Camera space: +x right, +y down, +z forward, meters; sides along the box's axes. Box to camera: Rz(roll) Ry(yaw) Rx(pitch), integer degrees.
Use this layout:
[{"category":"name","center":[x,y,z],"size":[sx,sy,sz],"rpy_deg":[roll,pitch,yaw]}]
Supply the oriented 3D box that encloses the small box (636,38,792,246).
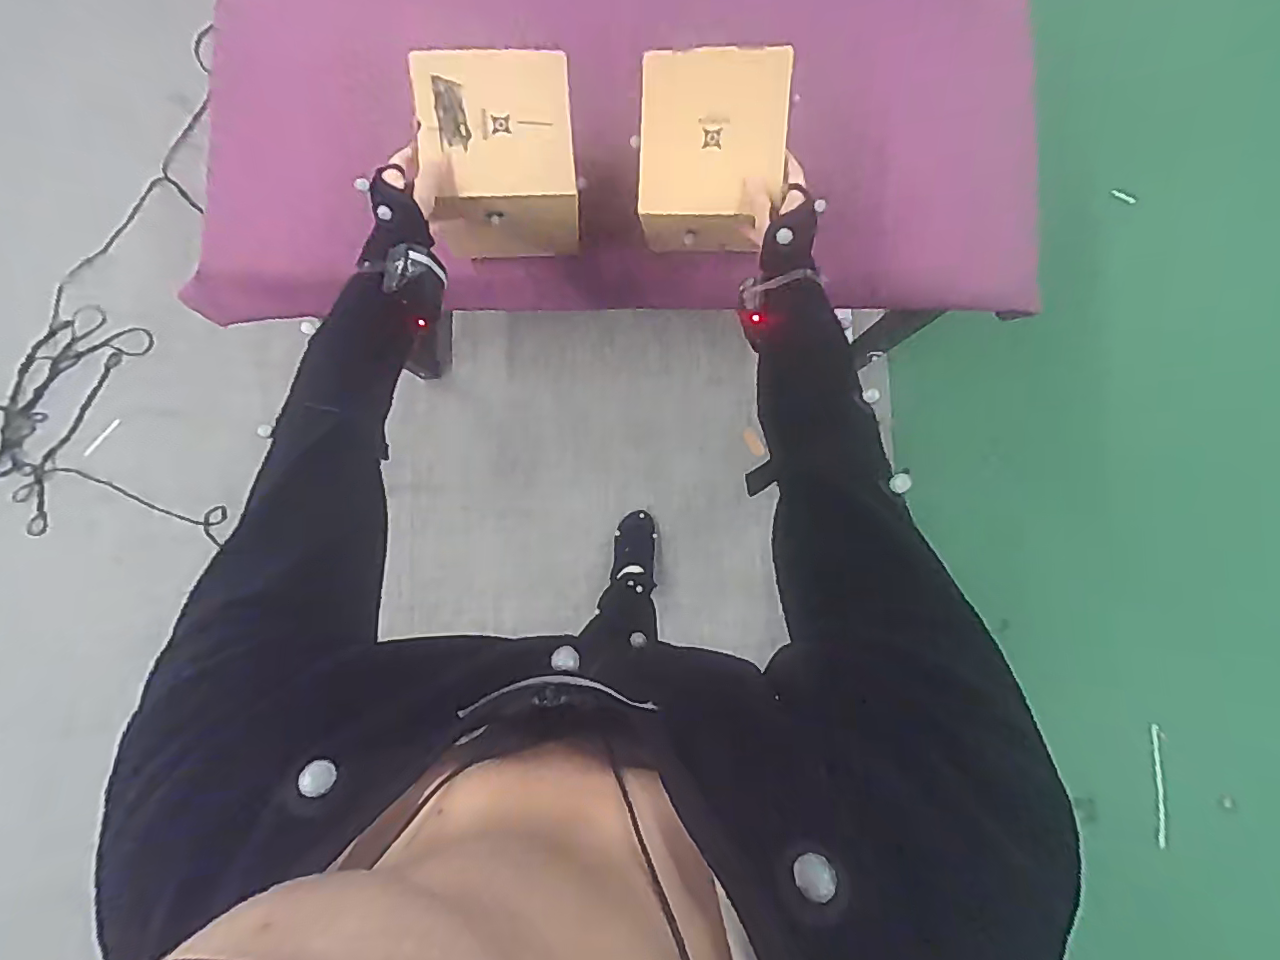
[{"category":"small box","center":[0.089,-0.406,0.681],"size":[0.168,0.176,0.179],"rpy_deg":[3,97,5]}]
